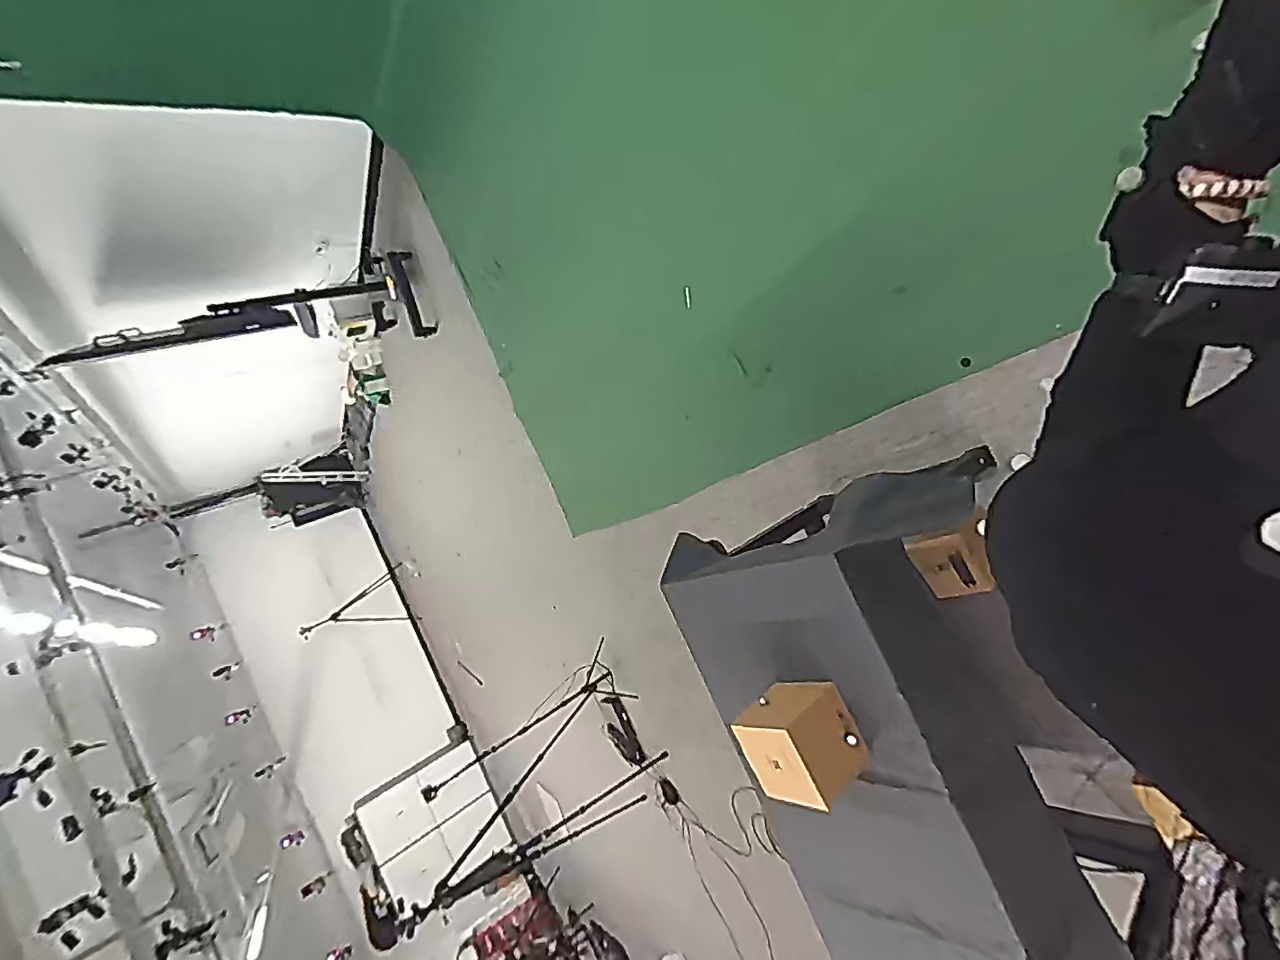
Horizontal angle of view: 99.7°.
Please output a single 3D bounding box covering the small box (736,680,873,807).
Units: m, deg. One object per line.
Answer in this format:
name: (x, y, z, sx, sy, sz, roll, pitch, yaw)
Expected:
small box: (0.340, 0.533, 1.122, 0.179, 0.176, 0.168, -34, 83, 56)
